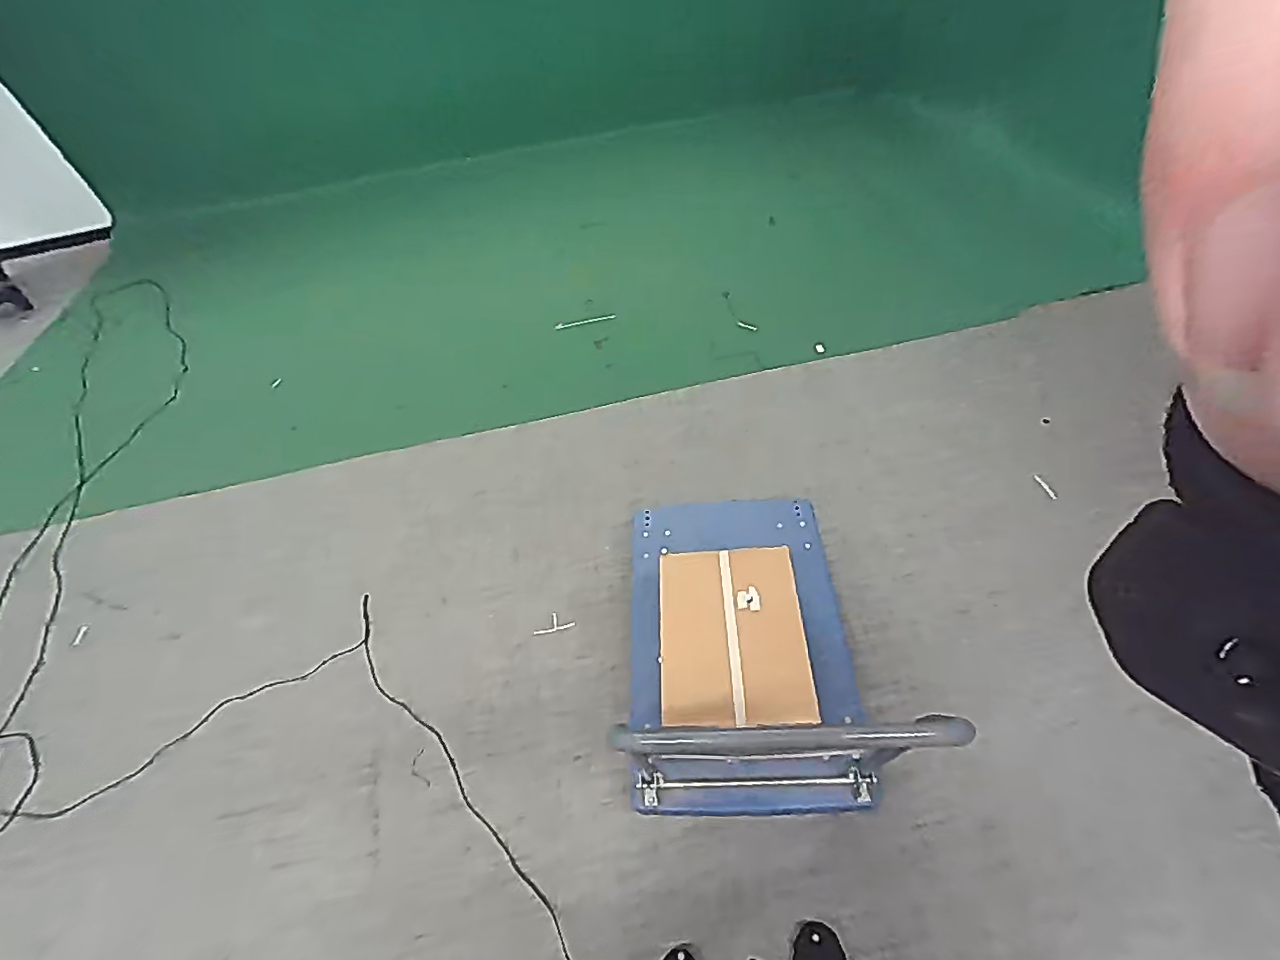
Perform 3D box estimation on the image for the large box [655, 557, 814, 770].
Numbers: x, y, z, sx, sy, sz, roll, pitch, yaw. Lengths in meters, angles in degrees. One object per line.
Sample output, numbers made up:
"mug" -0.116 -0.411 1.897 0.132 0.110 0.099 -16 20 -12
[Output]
"large box" 0.211 0.446 1.314 0.320 0.320 0.408 -4 49 5
